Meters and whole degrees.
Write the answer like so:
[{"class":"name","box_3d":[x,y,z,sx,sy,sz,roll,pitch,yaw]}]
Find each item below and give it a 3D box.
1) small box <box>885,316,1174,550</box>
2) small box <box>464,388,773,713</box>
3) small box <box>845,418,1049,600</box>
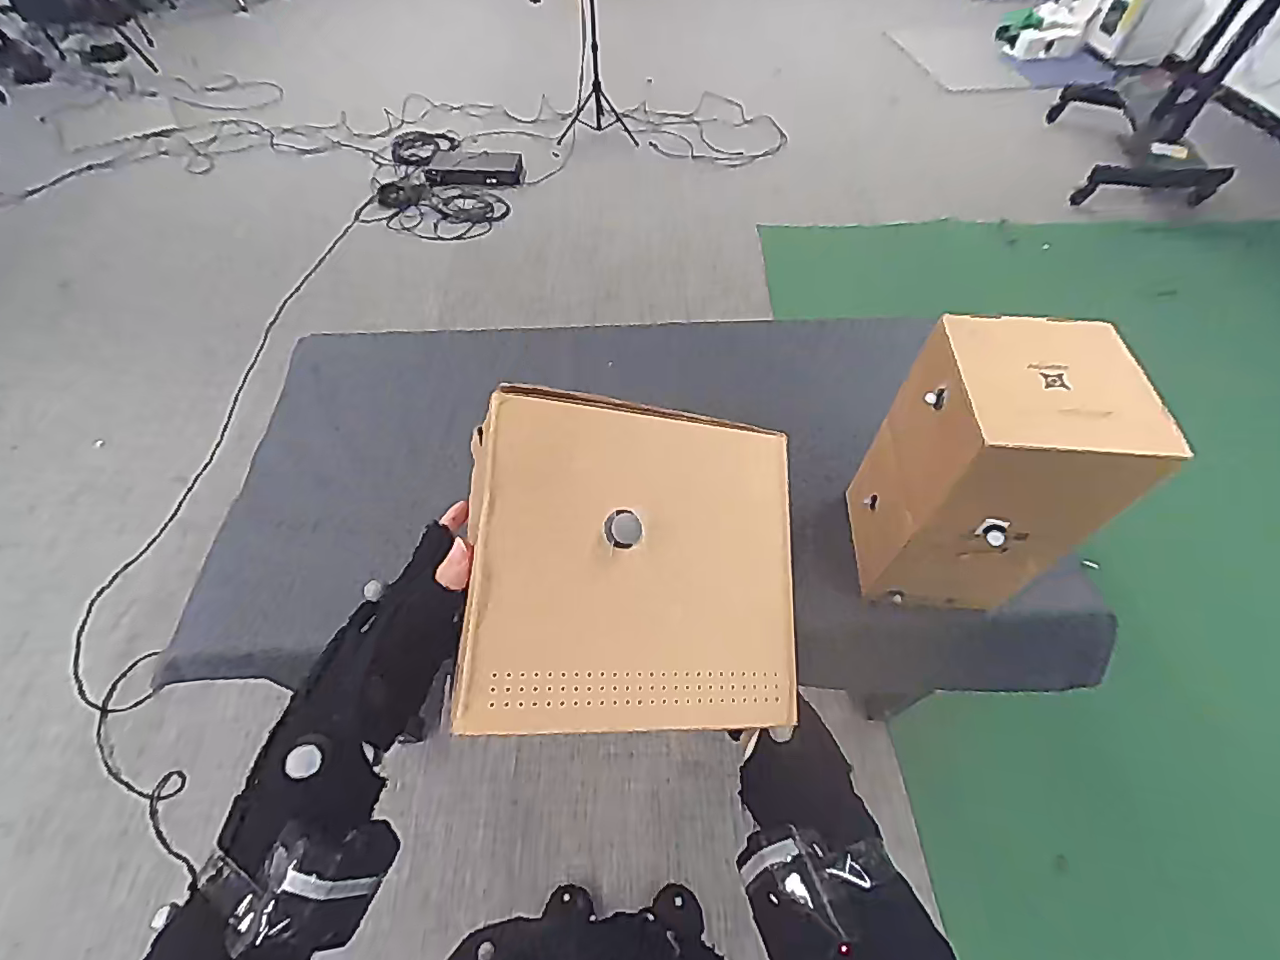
[{"class":"small box","box_3d":[0.378,-0.047,0.571,0.168,0.176,0.179,4,56,5]},{"class":"small box","box_3d":[-0.024,0.056,0.368,0.179,0.168,0.176,6,76,-18]},{"class":"small box","box_3d":[0.381,0.043,0.706,0.168,0.176,0.179,4,54,4]}]
